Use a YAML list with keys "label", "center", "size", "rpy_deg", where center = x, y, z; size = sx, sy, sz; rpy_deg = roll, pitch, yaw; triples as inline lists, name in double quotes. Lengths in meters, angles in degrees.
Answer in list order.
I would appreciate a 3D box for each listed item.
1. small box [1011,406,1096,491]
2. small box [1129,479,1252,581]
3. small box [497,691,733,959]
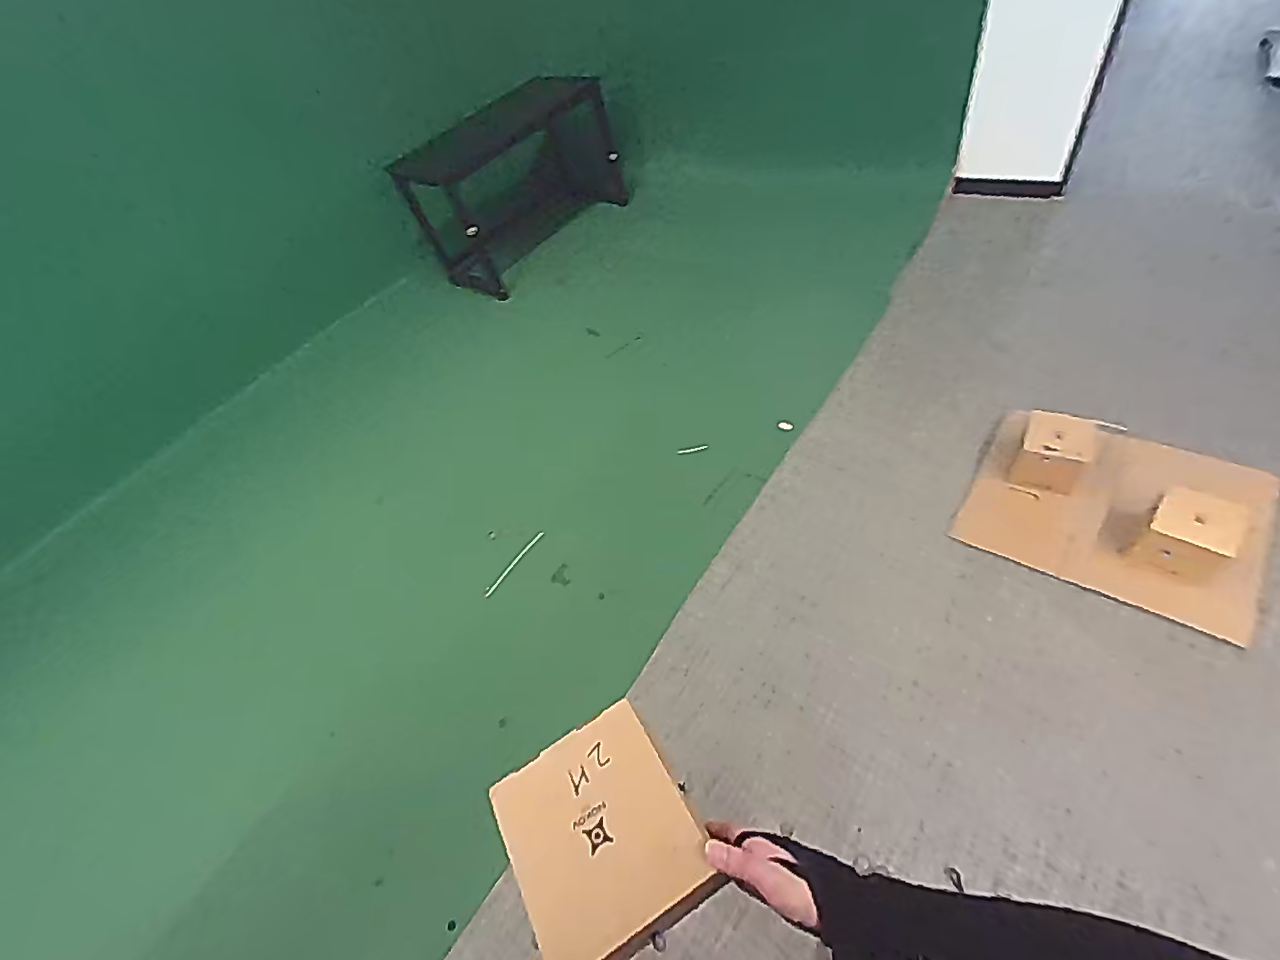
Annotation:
- label: "small box"
  center: [1.276, -0.097, 1.675]
  size: [0.168, 0.176, 0.179]
  rpy_deg: [16, 58, 28]
- label: "small box"
  center: [1.446, 0.137, 1.431]
  size: [0.168, 0.176, 0.179]
  rpy_deg: [27, 64, 34]
- label: "small box"
  center: [-0.018, 0.360, 0.563]
  size: [0.168, 0.176, 0.179]
  rpy_deg: [-30, 50, -9]
